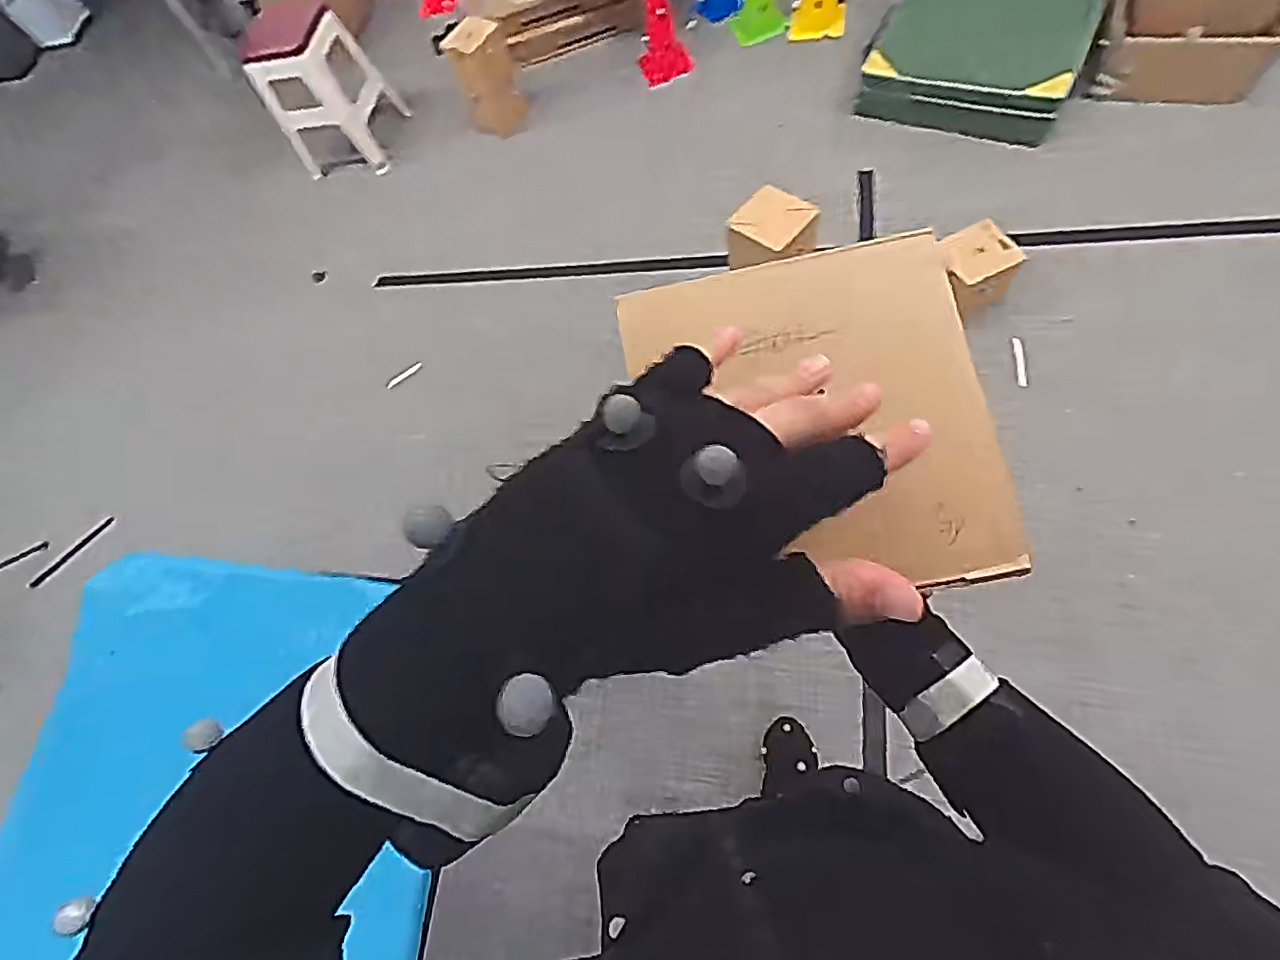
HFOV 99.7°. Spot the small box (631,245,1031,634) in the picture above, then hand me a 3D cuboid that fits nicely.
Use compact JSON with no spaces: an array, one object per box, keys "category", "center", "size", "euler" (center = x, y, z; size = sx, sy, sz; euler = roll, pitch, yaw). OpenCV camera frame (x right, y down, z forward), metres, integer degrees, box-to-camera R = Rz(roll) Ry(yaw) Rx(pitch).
[{"category":"small box","center":[0.096,-0.011,0.346],"size":[0.168,0.176,0.179],"euler":[-10,79,4]}]

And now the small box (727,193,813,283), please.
[{"category":"small box","center":[0.352,-0.637,1.471],"size":[0.179,0.176,0.168],"euler":[39,80,24]}]

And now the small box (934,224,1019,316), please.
[{"category":"small box","center":[0.897,-0.566,1.513],"size":[0.179,0.176,0.168],"euler":[-26,67,1]}]
